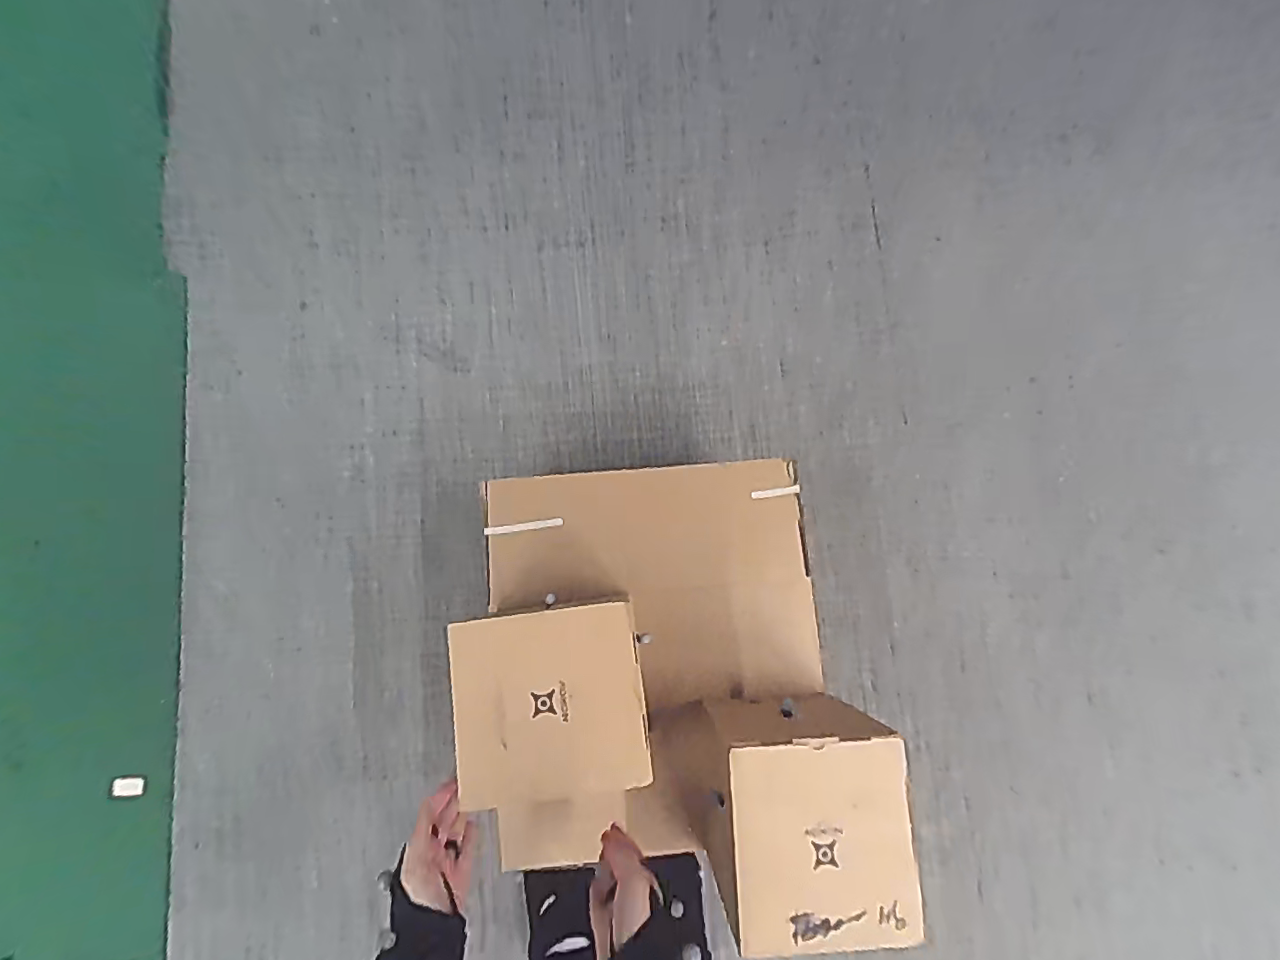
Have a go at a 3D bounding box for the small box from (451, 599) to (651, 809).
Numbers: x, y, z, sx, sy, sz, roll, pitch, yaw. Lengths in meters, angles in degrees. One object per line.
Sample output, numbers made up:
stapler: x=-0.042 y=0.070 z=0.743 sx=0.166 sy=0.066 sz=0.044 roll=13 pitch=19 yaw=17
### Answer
small box: x=-0.086 y=0.220 z=0.577 sx=0.179 sy=0.176 sz=0.168 roll=-7 pitch=79 yaw=-2

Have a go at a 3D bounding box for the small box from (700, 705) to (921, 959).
small box: x=0.158 y=0.339 z=0.561 sx=0.168 sy=0.176 sz=0.179 roll=-1 pitch=80 yaw=-3
